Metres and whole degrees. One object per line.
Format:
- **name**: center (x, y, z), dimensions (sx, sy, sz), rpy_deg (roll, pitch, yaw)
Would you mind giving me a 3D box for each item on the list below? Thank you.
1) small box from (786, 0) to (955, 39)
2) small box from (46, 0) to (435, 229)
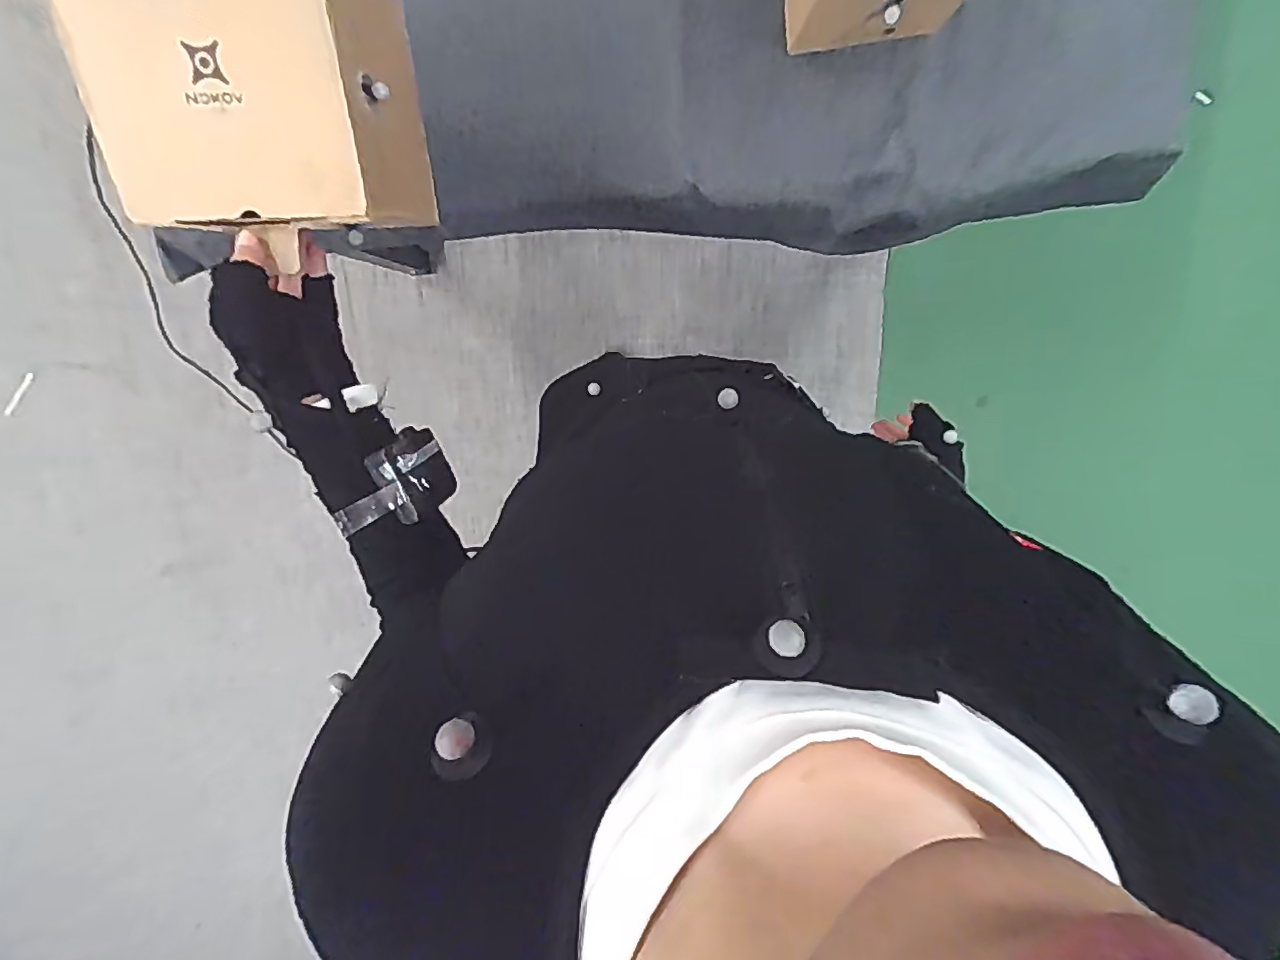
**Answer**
- **small box**: center (0.234, -0.545, 0.495), dimensions (0.168, 0.176, 0.179), rpy_deg (-8, 105, 0)
- **small box**: center (-0.271, -0.289, 0.408), dimensions (0.168, 0.176, 0.179), rpy_deg (-3, 114, -2)
